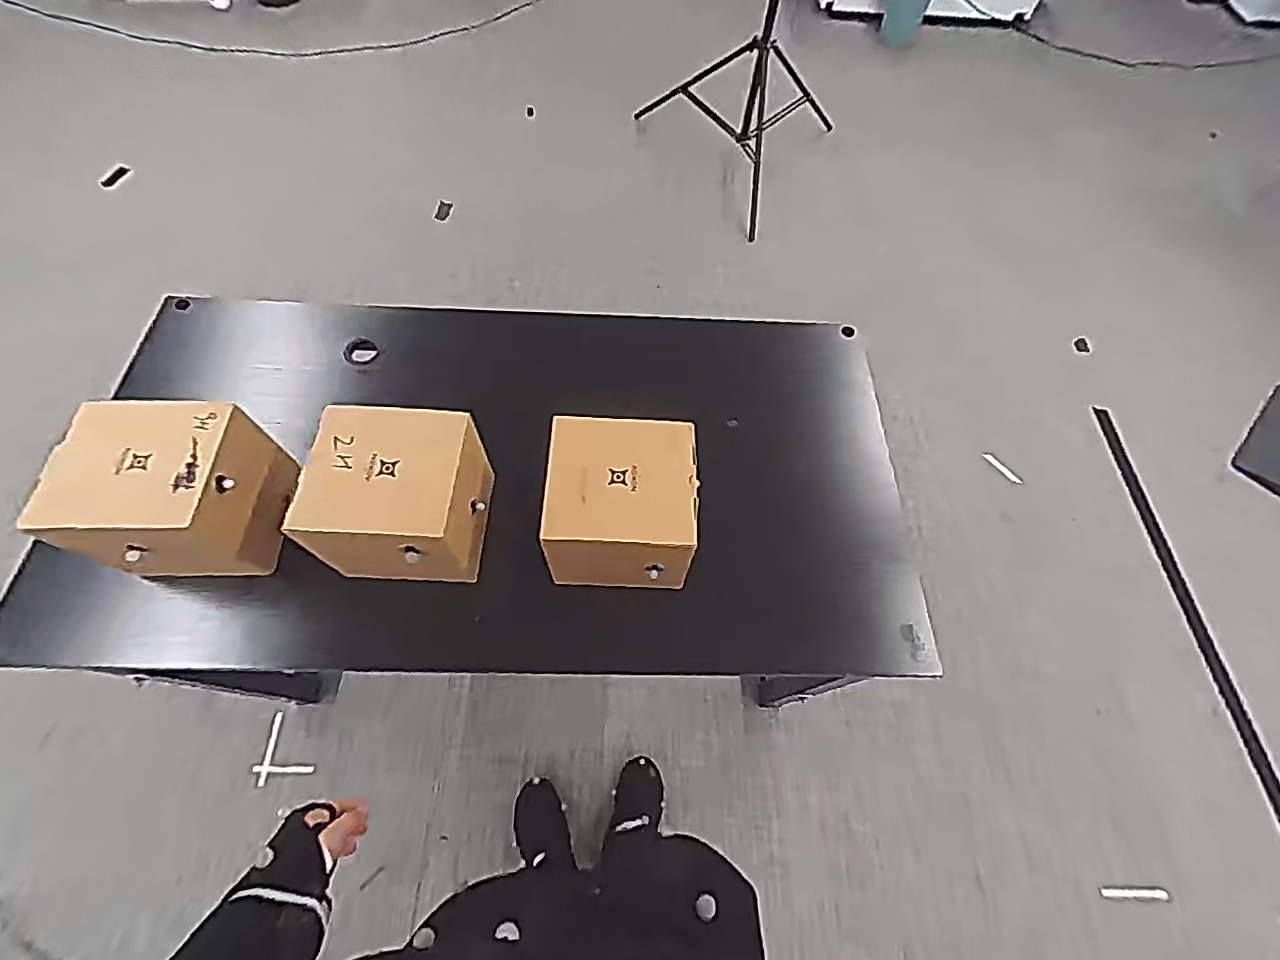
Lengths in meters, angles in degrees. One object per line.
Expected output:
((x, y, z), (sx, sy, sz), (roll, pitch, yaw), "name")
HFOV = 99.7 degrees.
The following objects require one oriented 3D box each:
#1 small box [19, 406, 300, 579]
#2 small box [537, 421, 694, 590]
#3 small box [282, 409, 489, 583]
((-0.575, 0.022, 0.681), (0.179, 0.176, 0.168), (-1, 63, -3), "small box")
((-0.029, 0.039, 0.704), (0.179, 0.176, 0.168), (1, 61, -1), "small box")
((-0.302, 0.028, 0.692), (0.179, 0.176, 0.168), (2, 62, -2), "small box")
